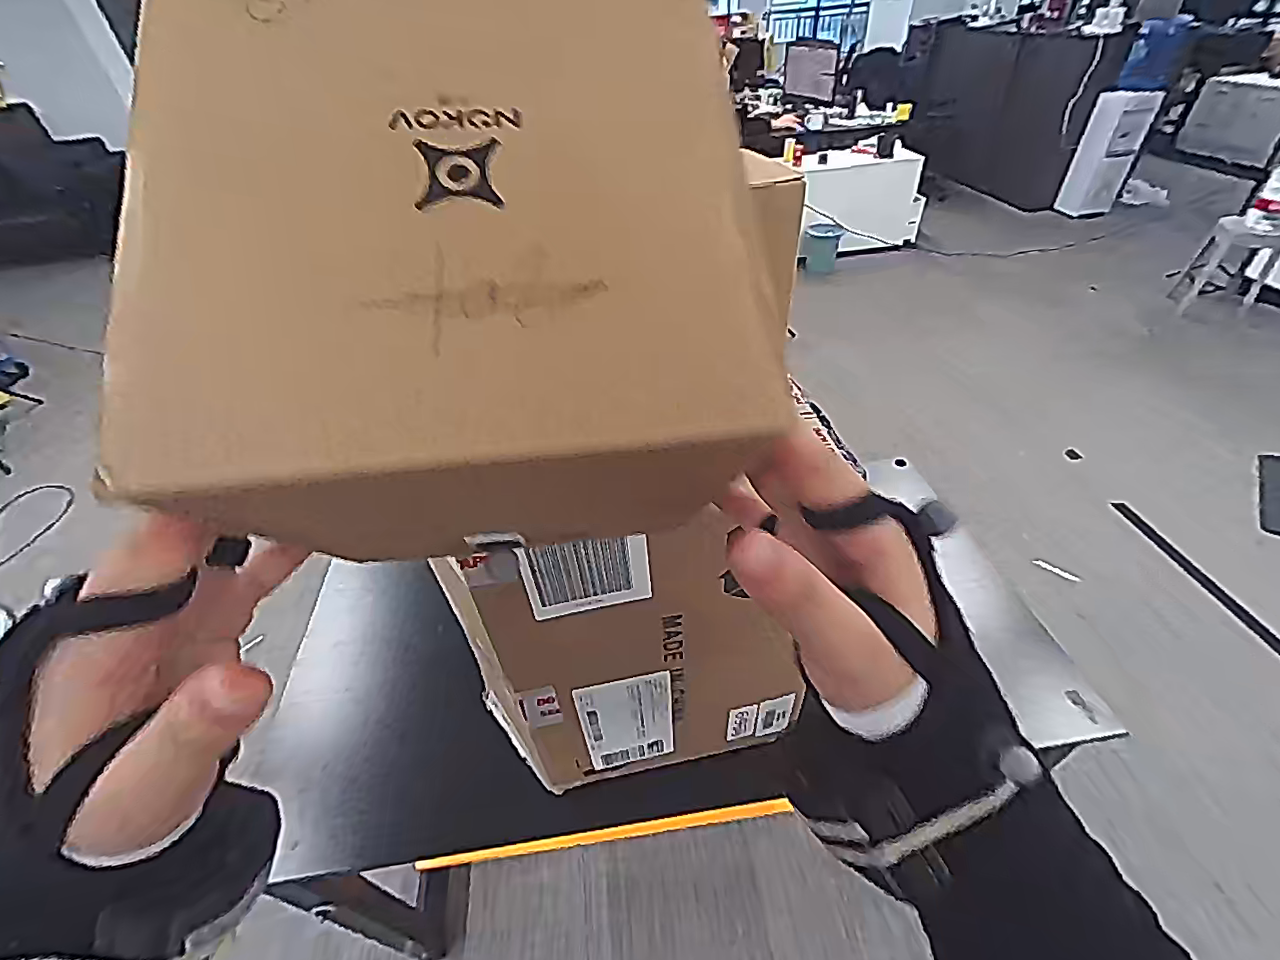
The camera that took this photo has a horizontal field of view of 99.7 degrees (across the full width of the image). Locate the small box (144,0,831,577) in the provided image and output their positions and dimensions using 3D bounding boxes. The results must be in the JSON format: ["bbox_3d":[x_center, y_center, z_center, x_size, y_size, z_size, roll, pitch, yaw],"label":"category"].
[{"bbox_3d":[-0.049,-0.060,0.227,0.168,0.176,0.179,-6,78,-7],"label":"small box"}]
